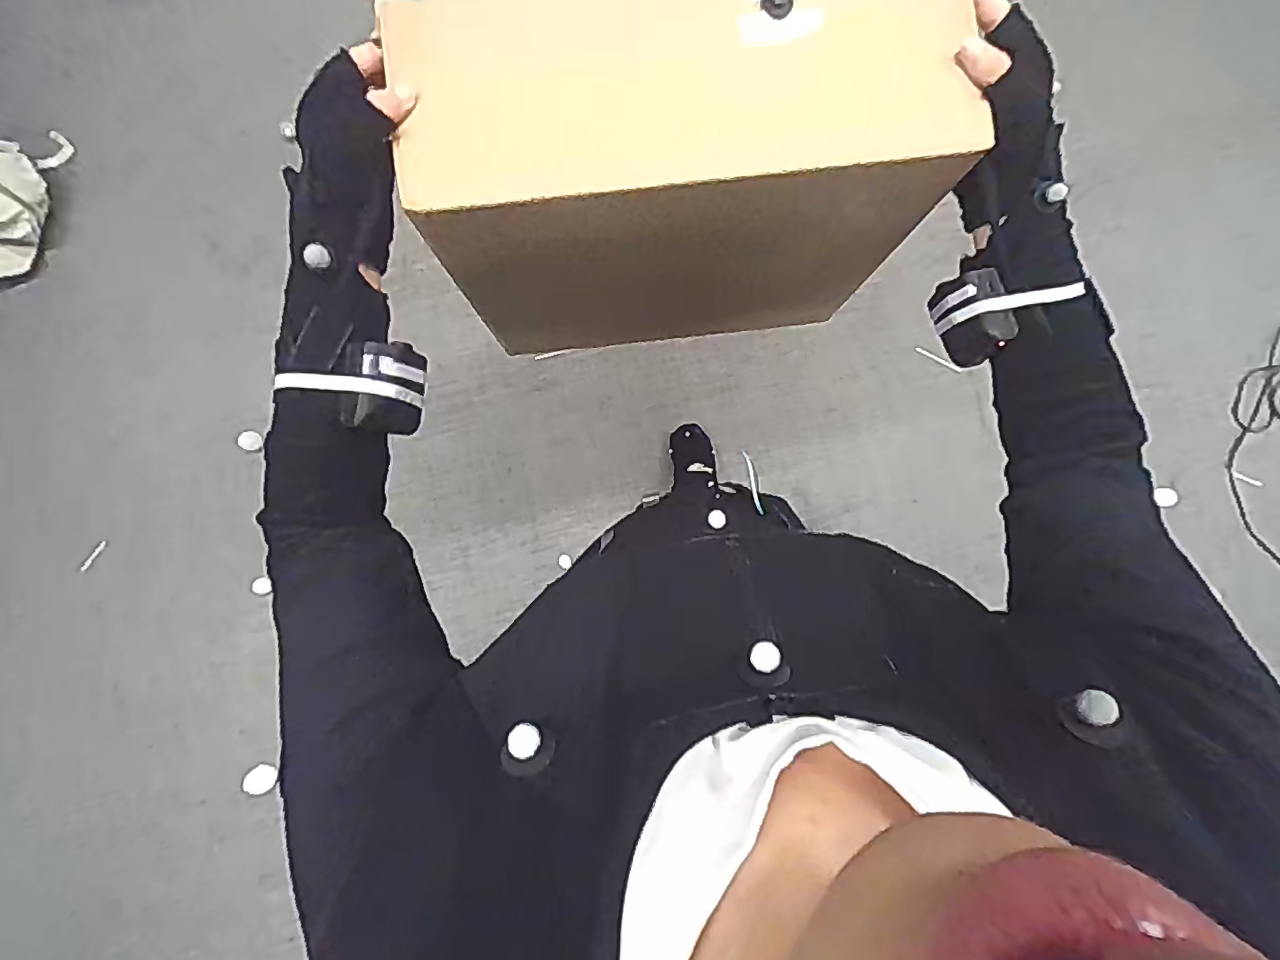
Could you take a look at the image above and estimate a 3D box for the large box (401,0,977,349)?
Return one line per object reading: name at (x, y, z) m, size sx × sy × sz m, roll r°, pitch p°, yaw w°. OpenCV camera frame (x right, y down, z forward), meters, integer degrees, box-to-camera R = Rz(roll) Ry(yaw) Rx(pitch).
large box at (0.019, -0.349, 0.539) m, size 0.408 × 0.320 × 0.320 m, roll -8°, pitch 85°, yaw -2°
